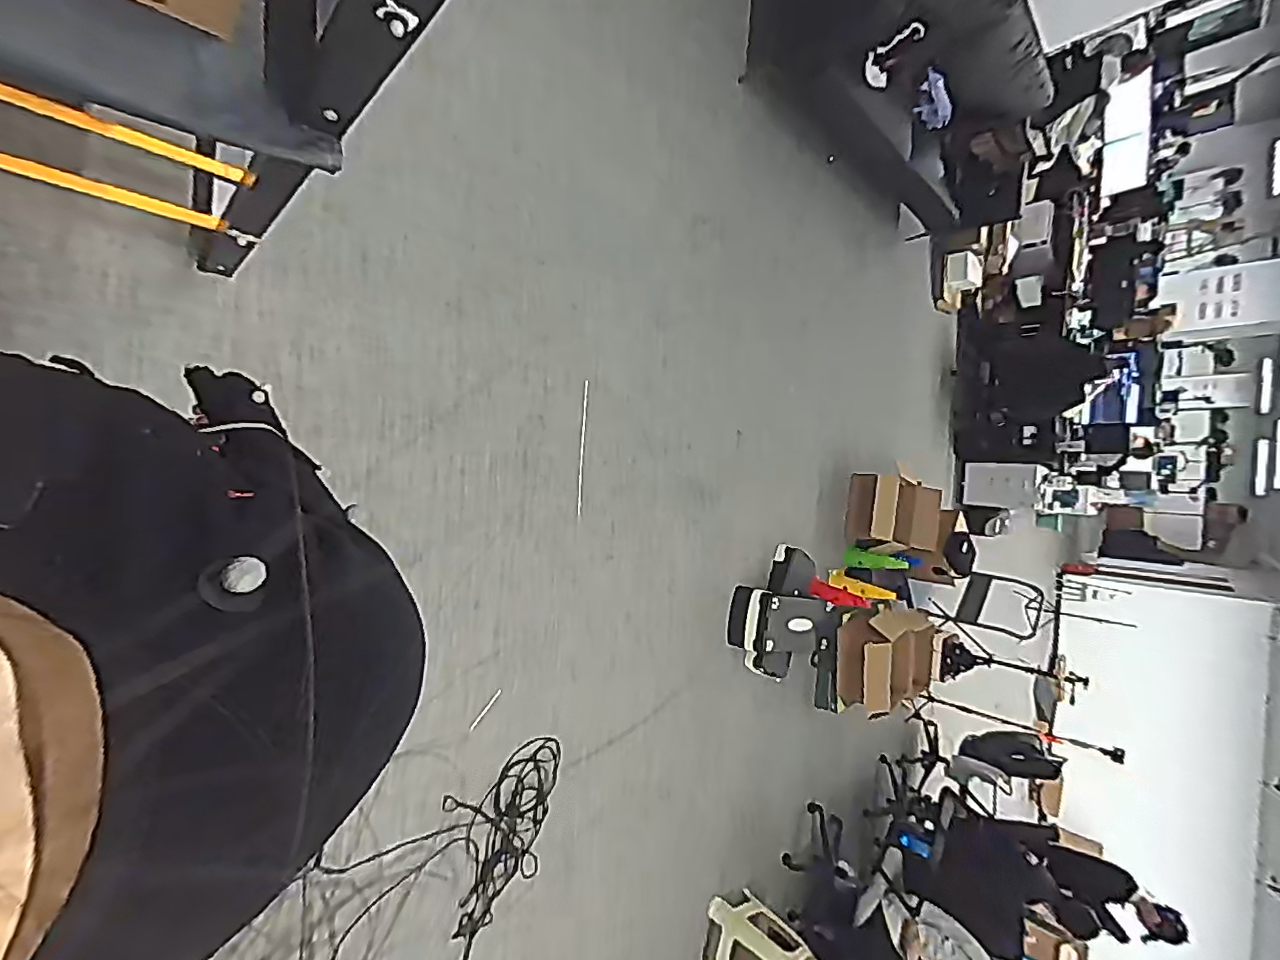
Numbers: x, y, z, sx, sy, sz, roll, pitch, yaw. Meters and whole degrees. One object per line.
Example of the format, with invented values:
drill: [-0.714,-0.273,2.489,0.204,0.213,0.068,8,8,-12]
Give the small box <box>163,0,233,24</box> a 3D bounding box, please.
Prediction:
small box: [-0.471,-0.587,0.498,0.168,0.176,0.179,-2,94,-45]
